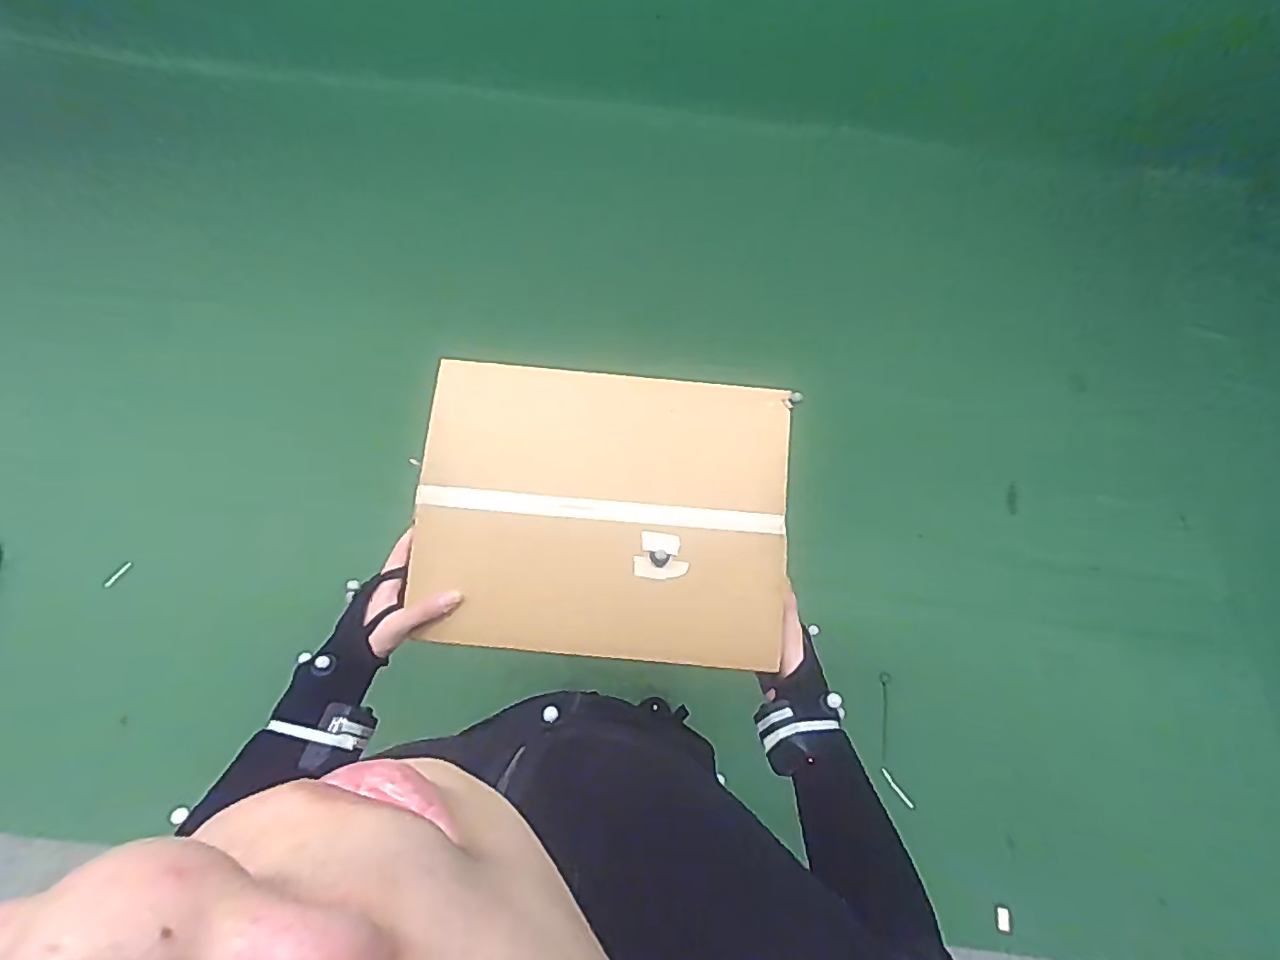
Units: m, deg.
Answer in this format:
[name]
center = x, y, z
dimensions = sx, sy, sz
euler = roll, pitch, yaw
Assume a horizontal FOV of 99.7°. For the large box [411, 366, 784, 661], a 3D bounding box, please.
[large box]
center = -0.046, 0.057, 0.752
dimensions = 0.408, 0.320, 0.320
euler = 5, 81, -1
